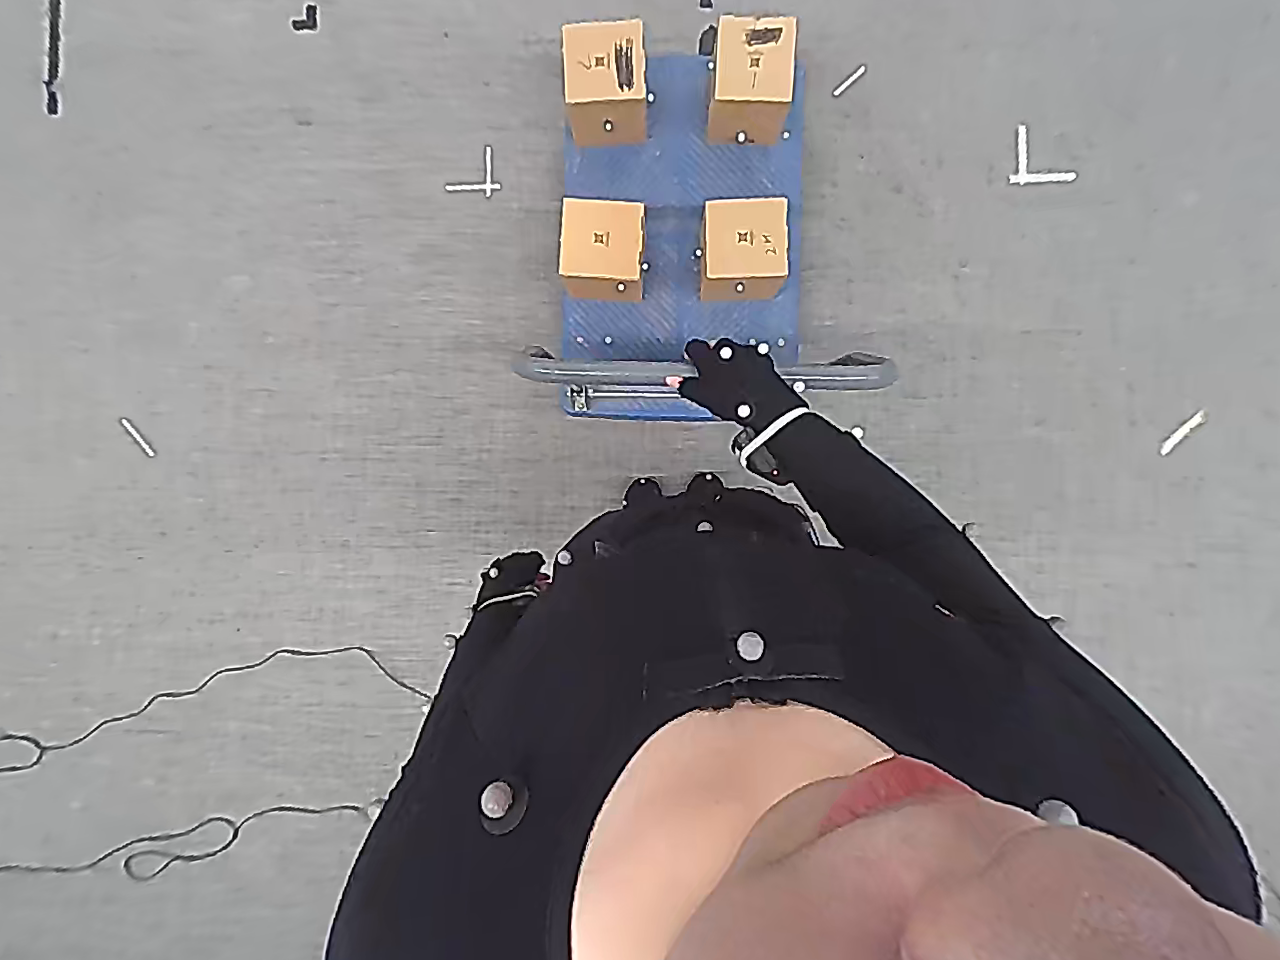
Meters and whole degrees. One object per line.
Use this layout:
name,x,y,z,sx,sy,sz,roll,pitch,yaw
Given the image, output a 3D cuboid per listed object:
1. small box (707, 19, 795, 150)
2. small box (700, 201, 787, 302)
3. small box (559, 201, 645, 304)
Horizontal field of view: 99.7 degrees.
small box,0.243,-0.885,1.220,0.168,0.176,0.179,3,92,2
small box,0.228,-0.511,1.229,0.179,0.176,0.168,-1,91,2
small box,-0.081,-0.512,1.238,0.179,0.176,0.168,3,91,0
